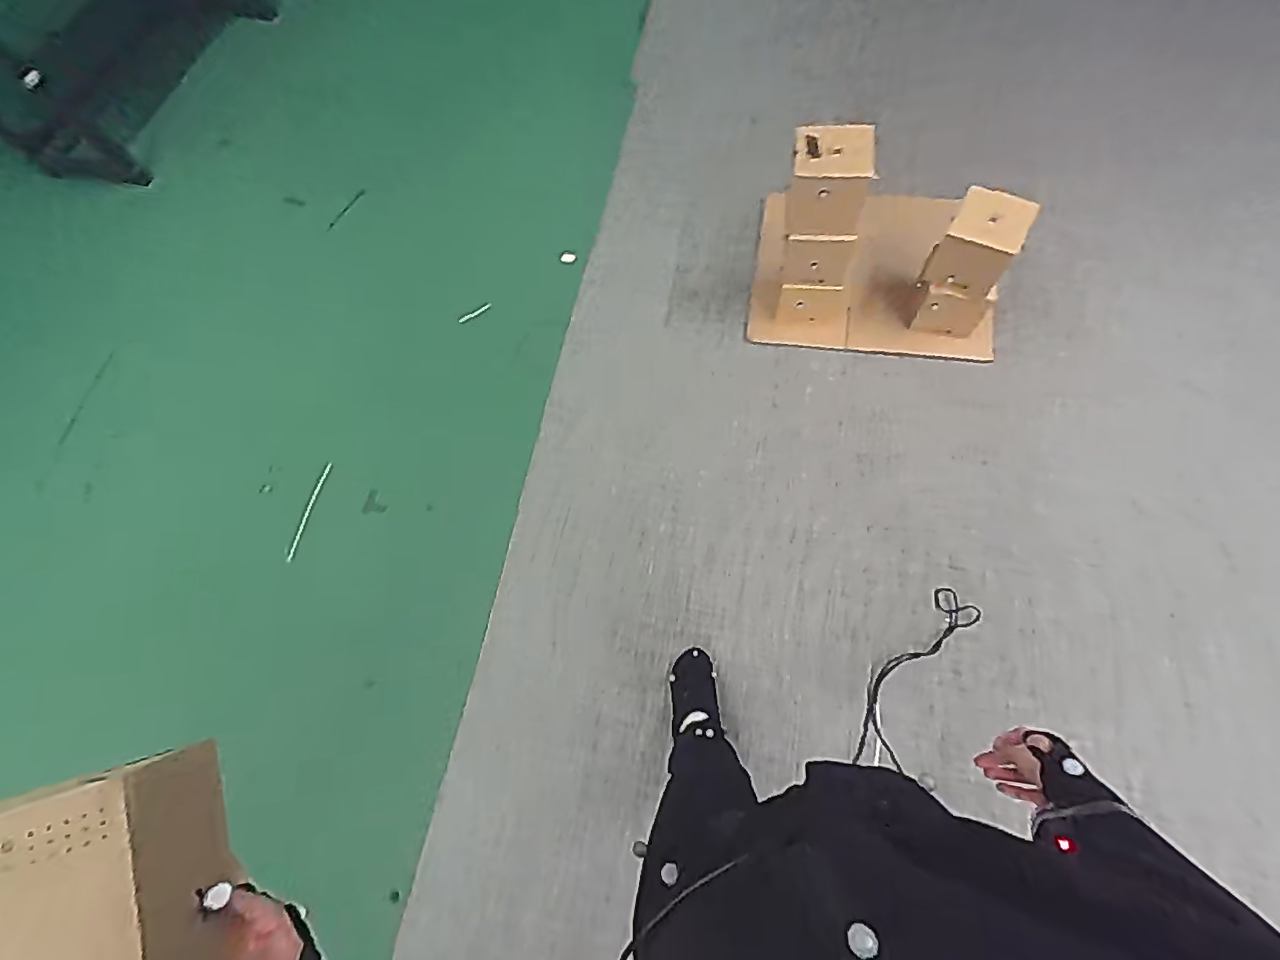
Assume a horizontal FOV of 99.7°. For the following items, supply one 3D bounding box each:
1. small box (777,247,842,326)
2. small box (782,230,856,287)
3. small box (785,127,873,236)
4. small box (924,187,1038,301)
[{"bbox_3d":[0.500,-0.576,1.601,0.168,0.176,0.179,6,68,10],"label":"small box"},{"bbox_3d":[0.478,-0.643,1.452,0.168,0.176,0.179,6,69,10],"label":"small box"},{"bbox_3d":[0.451,-0.715,1.306,0.179,0.176,0.168,5,69,9],"label":"small box"},{"bbox_3d":[0.860,-0.599,1.380,0.168,0.176,0.179,28,74,16],"label":"small box"}]
